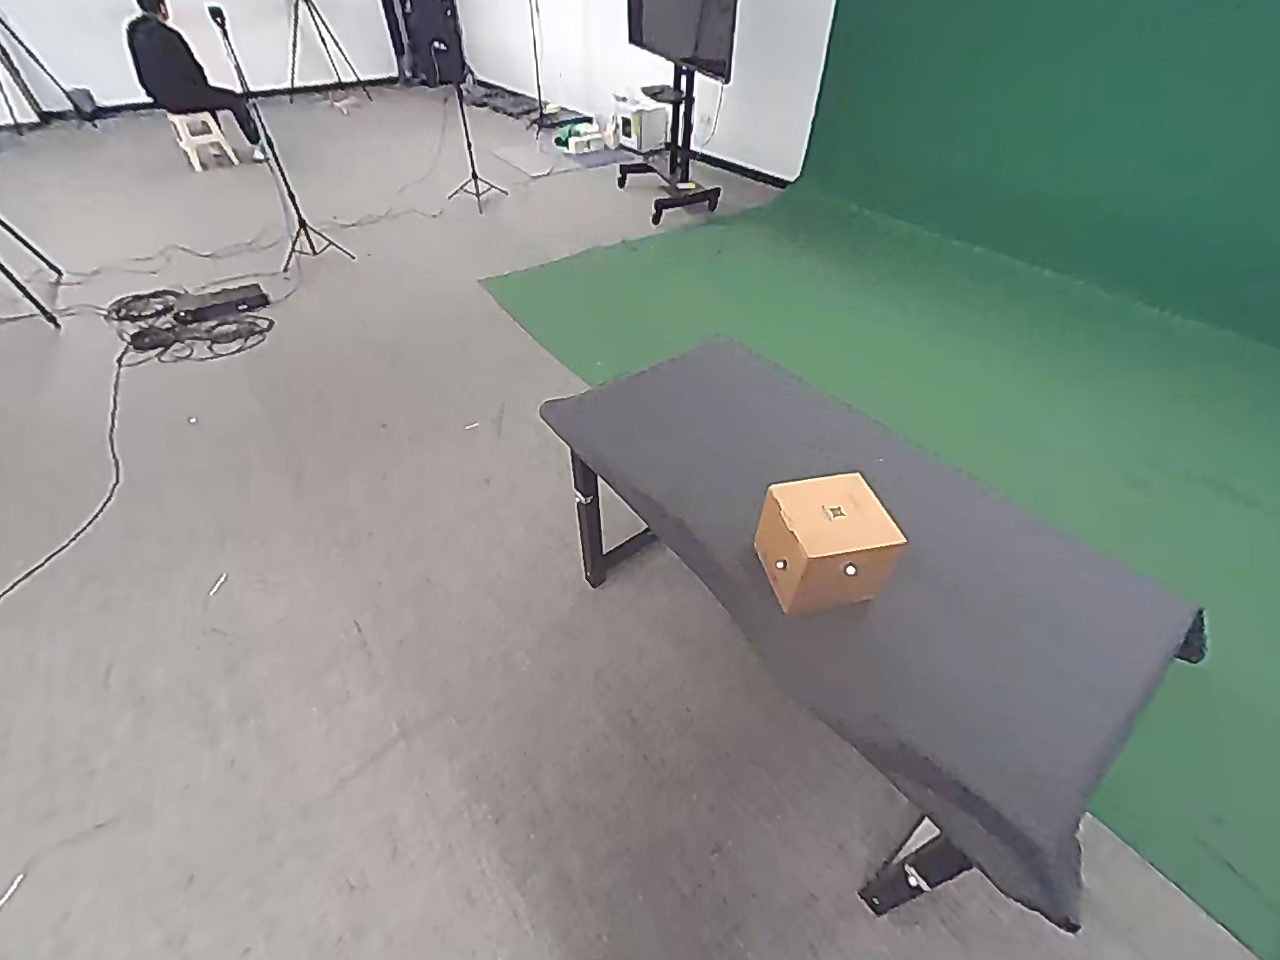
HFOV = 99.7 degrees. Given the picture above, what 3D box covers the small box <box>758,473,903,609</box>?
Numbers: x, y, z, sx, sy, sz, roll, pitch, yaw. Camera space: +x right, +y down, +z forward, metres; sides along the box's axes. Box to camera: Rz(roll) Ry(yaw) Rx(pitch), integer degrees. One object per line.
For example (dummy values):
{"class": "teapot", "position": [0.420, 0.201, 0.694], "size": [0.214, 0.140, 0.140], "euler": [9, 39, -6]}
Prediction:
{"class": "small box", "position": [0.323, 0.111, 0.966], "size": [0.179, 0.176, 0.168], "euler": [-7, 46, -10]}
